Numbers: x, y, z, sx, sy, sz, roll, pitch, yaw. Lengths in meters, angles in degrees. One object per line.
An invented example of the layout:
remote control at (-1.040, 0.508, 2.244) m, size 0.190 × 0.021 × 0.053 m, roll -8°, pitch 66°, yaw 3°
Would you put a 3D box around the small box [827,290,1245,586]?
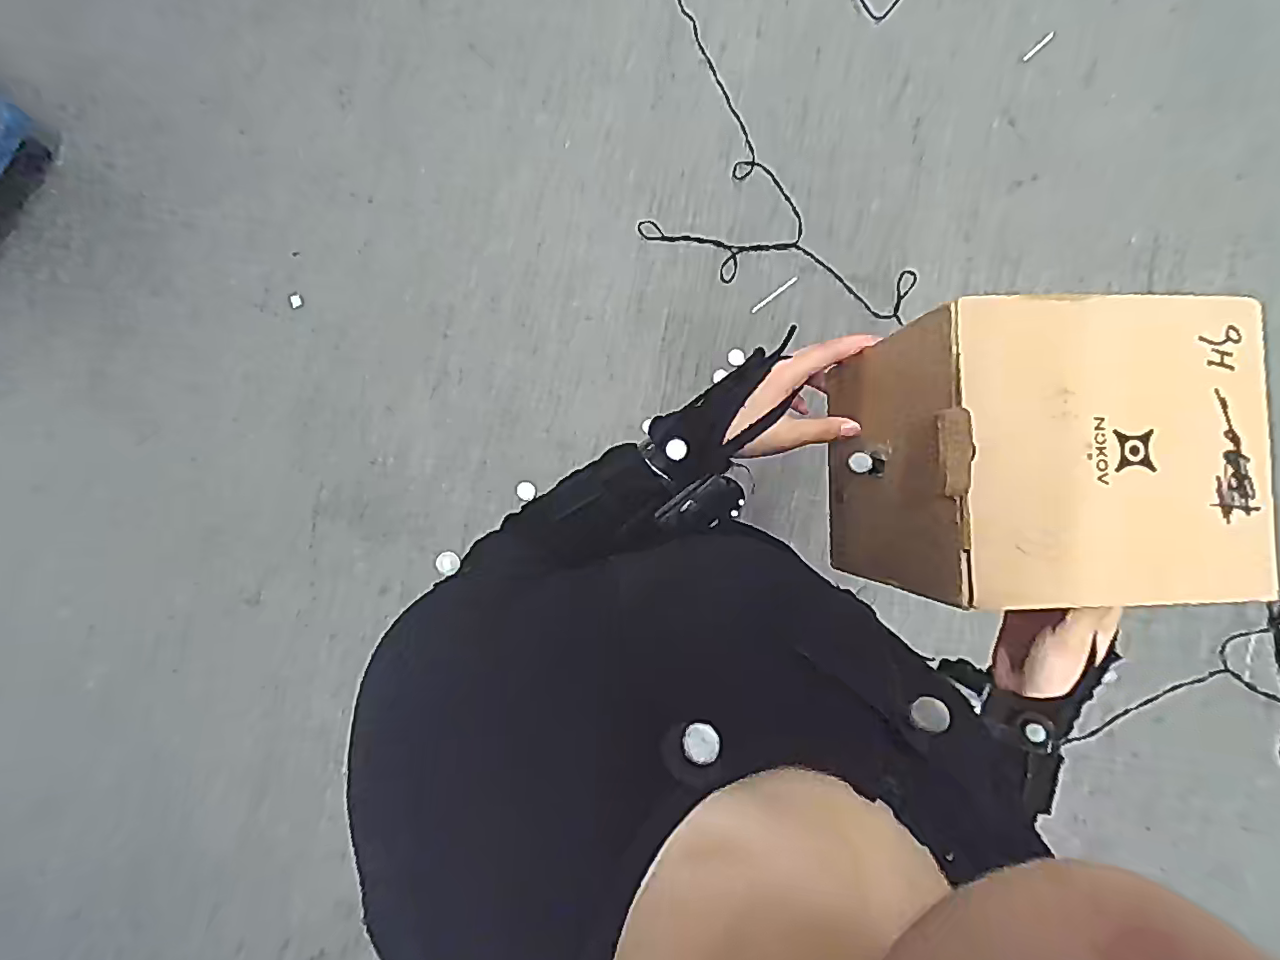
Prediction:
small box at (0.243, -0.019, 0.378) m, size 0.179 × 0.176 × 0.168 m, roll -1°, pitch 88°, yaw -4°
